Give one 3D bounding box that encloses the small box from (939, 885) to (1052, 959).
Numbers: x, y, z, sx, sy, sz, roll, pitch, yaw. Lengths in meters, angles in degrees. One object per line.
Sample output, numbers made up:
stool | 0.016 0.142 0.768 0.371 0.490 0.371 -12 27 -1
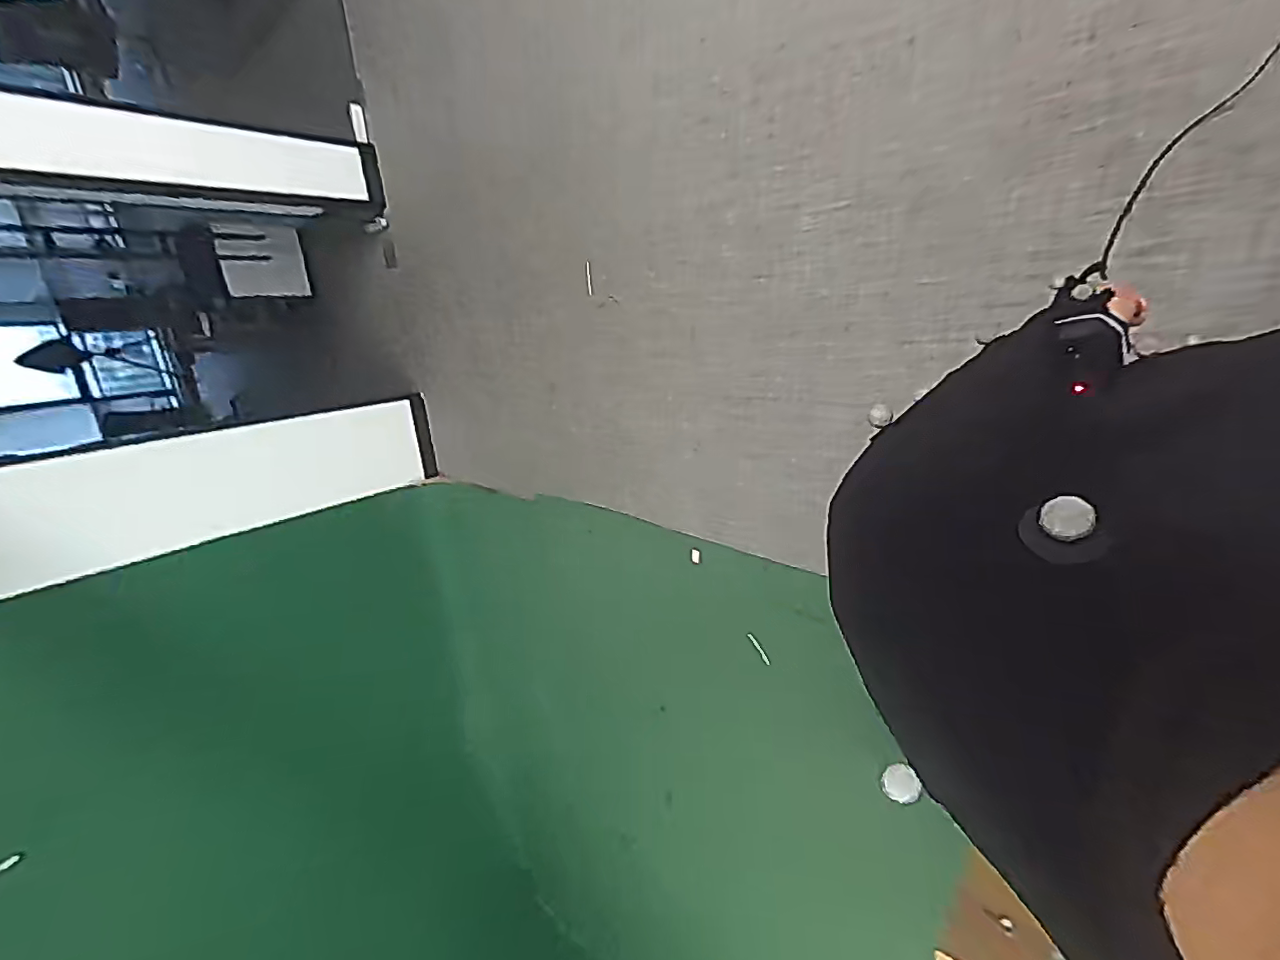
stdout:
small box | 0.703 0.975 1.073 0.168 0.176 0.179 8 110 40
